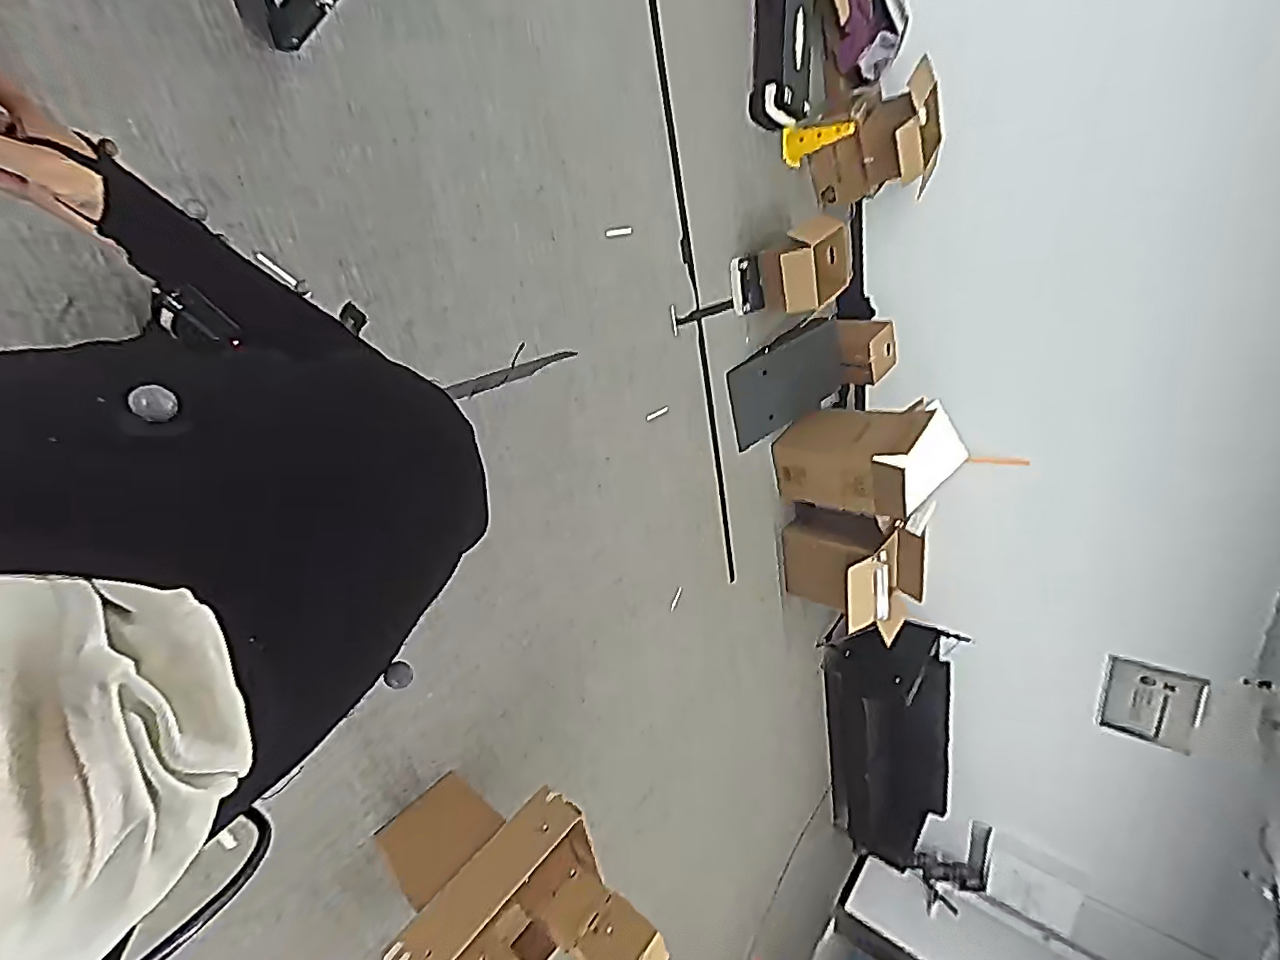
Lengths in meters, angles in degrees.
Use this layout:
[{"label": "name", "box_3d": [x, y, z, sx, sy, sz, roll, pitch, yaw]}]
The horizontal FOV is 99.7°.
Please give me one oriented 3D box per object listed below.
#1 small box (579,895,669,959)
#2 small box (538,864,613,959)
[{"label": "small box", "box_3d": [-0.045, 1.325, 1.518, 0.168, 0.176, 0.179, -39, 127, -38]}, {"label": "small box", "box_3d": [-0.178, 1.300, 1.613, 0.168, 0.176, 0.179, -36, 126, -39]}]
